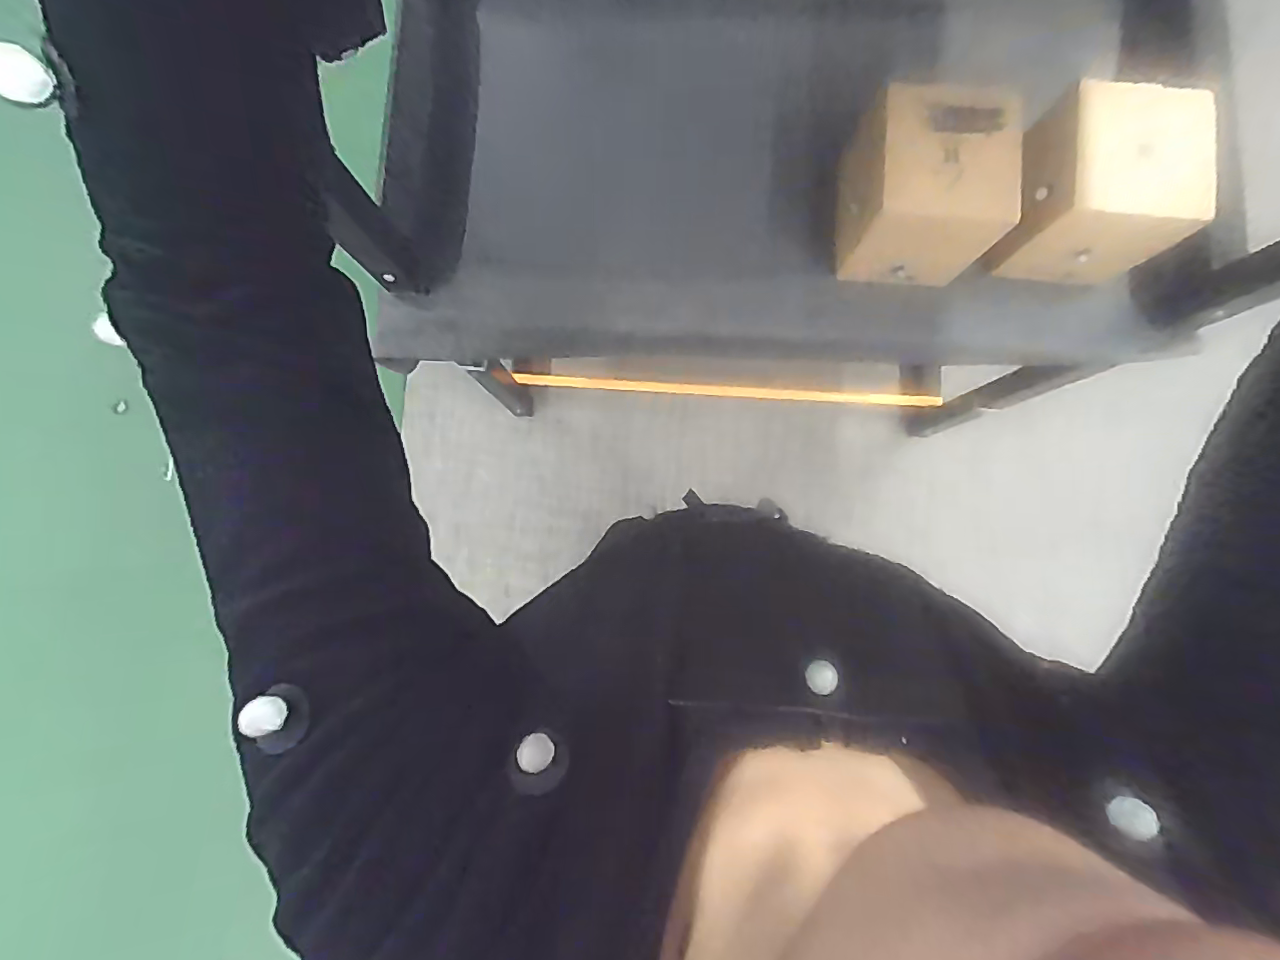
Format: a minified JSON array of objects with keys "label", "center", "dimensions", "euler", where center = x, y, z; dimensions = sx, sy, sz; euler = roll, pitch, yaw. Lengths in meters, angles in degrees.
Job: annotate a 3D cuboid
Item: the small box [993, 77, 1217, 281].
[{"label":"small box","center":[0.611,-0.393,0.732],"dimensions":[0.168,0.176,0.179],"euler":[6,83,2]}]
